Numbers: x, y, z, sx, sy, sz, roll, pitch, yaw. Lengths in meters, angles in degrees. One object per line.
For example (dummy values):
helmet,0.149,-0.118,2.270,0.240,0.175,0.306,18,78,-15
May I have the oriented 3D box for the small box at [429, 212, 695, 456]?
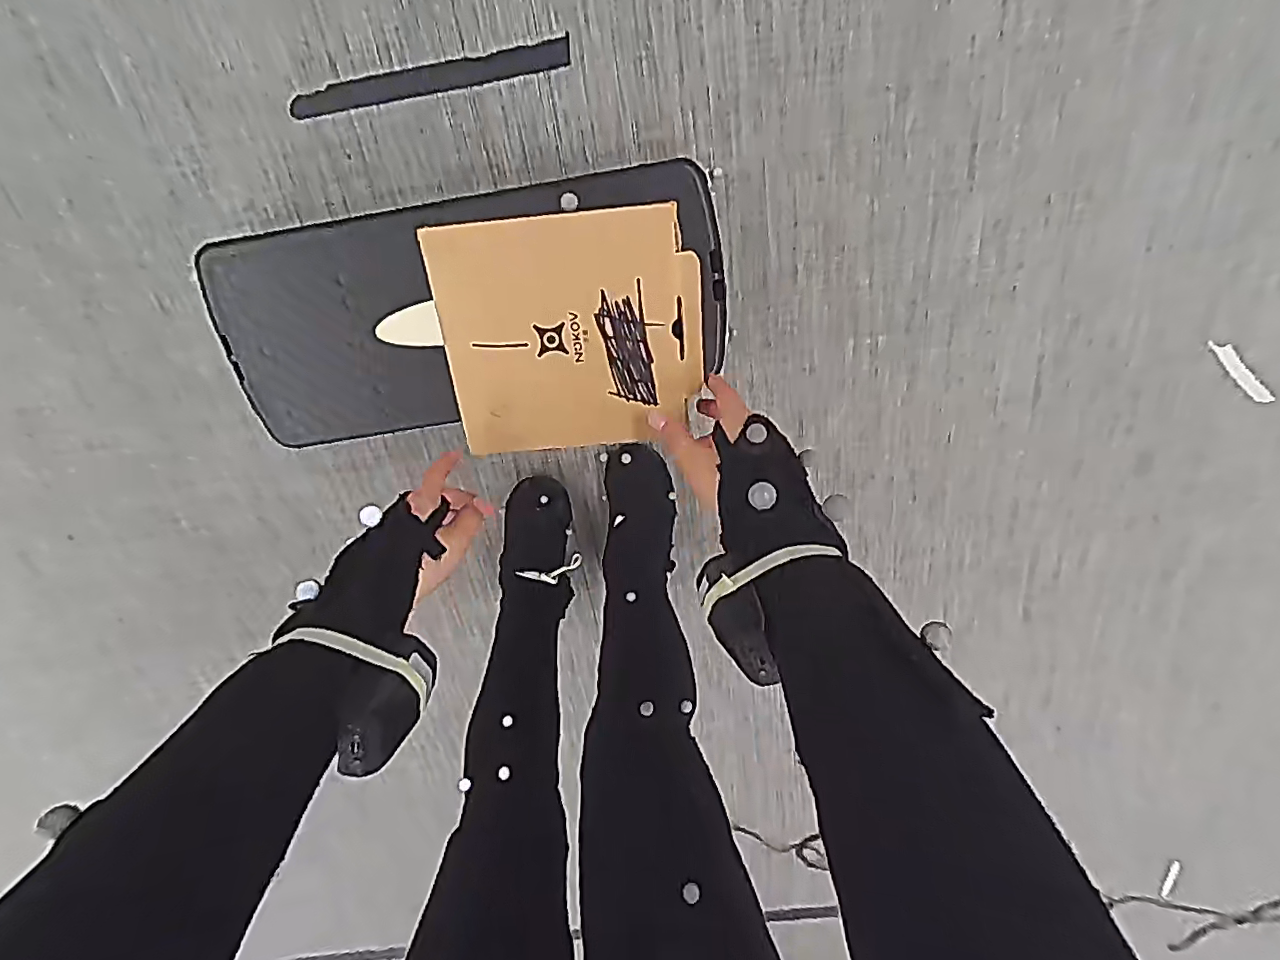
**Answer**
small box,-0.051,-0.132,0.464,0.179,0.176,0.168,-5,114,2
